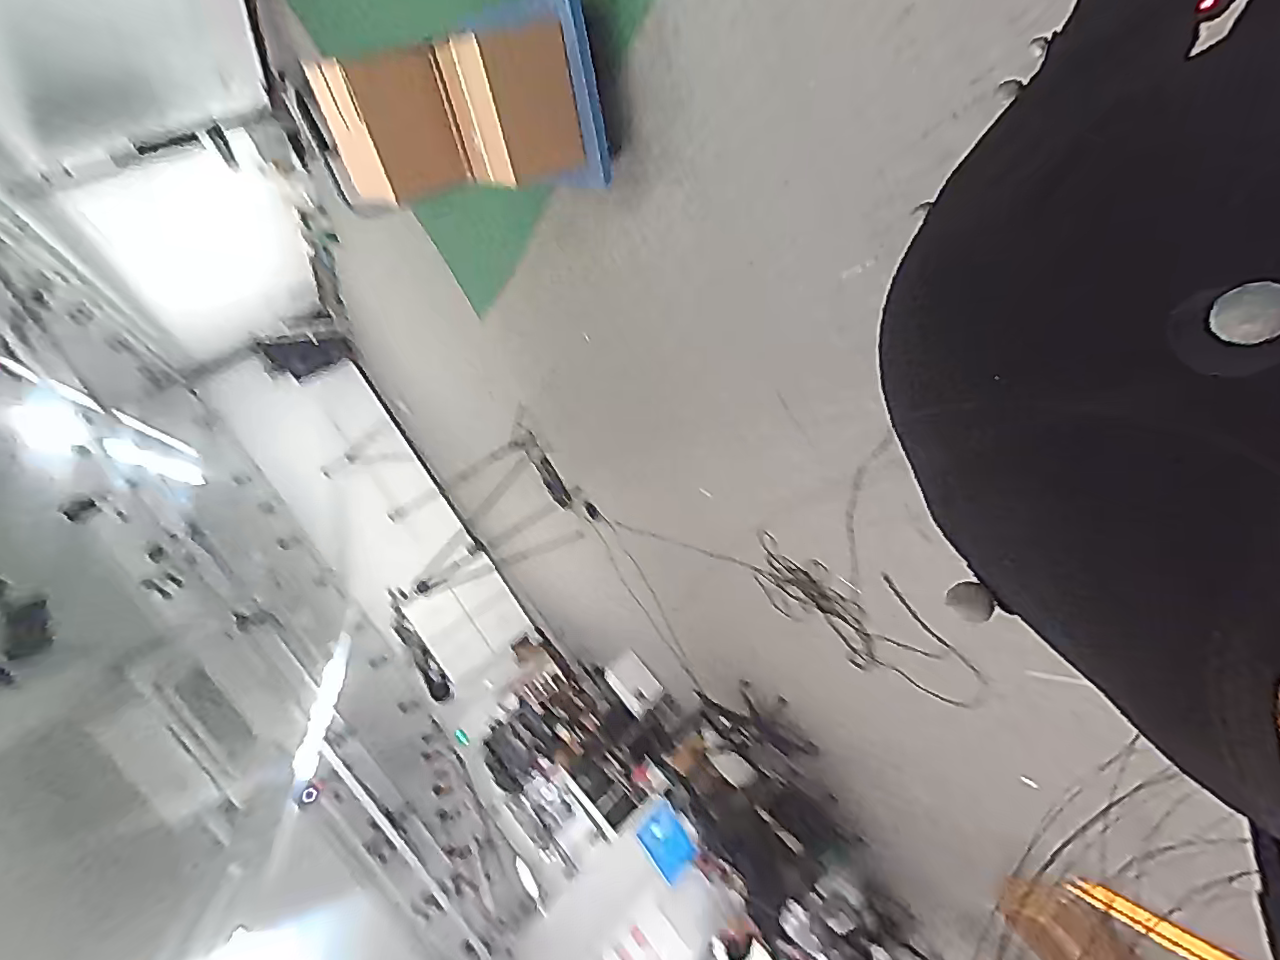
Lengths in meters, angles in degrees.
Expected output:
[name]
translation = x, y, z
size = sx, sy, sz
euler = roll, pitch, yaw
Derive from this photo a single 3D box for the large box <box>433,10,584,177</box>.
[large box]
translation = -0.437, -1.317, 1.861
size = 0.320, 0.320, 0.408
euler = 34, 149, 39
